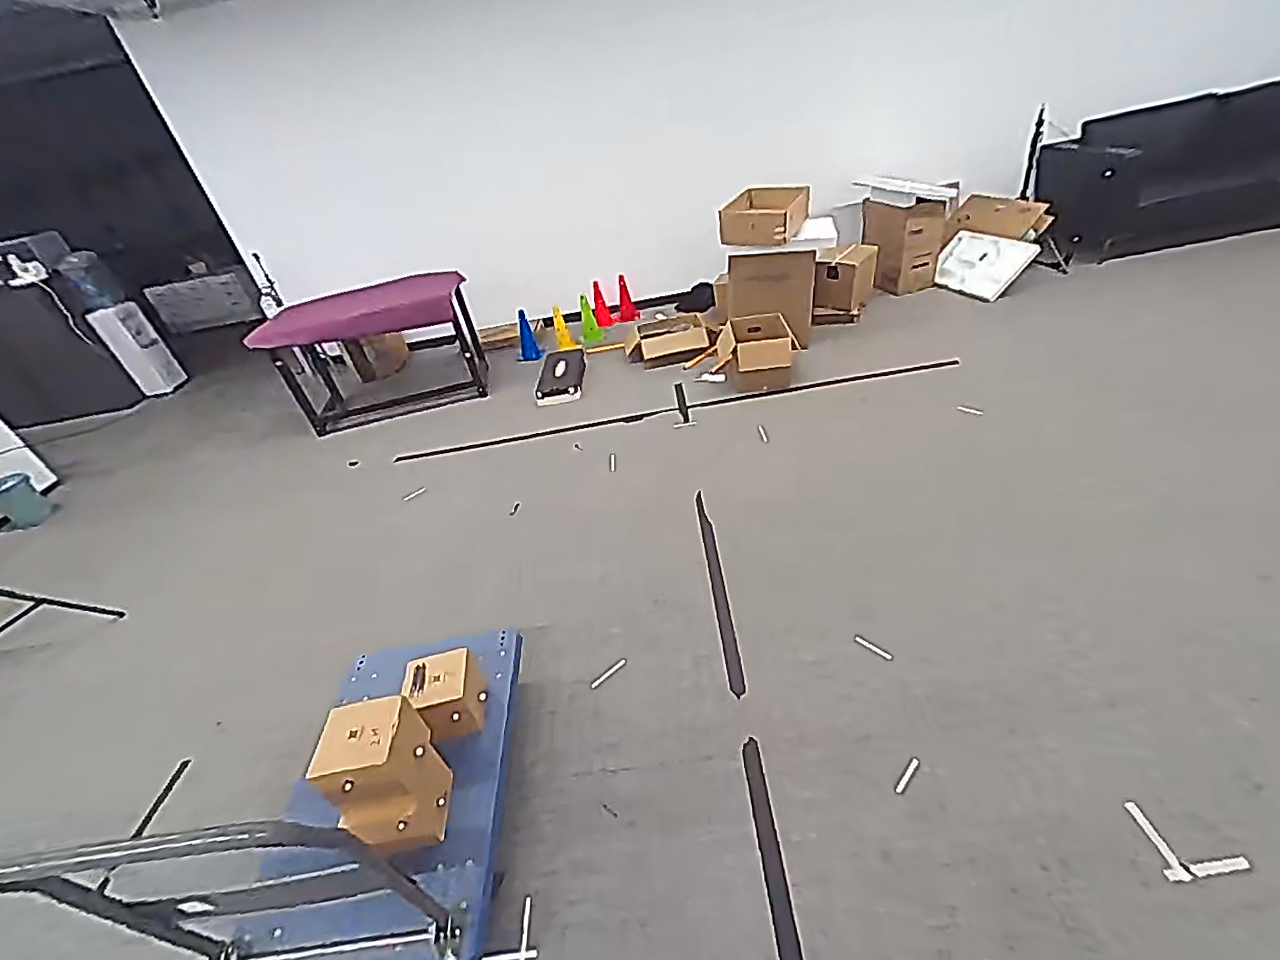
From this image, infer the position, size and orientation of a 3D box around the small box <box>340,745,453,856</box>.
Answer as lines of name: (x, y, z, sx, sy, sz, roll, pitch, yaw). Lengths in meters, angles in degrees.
small box: (-0.578, 0.775, 1.308, 0.179, 0.176, 0.168, -12, 35, -1)

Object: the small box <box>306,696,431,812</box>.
small box: (-0.608, 0.628, 1.236, 0.179, 0.176, 0.168, -11, 35, -1)
